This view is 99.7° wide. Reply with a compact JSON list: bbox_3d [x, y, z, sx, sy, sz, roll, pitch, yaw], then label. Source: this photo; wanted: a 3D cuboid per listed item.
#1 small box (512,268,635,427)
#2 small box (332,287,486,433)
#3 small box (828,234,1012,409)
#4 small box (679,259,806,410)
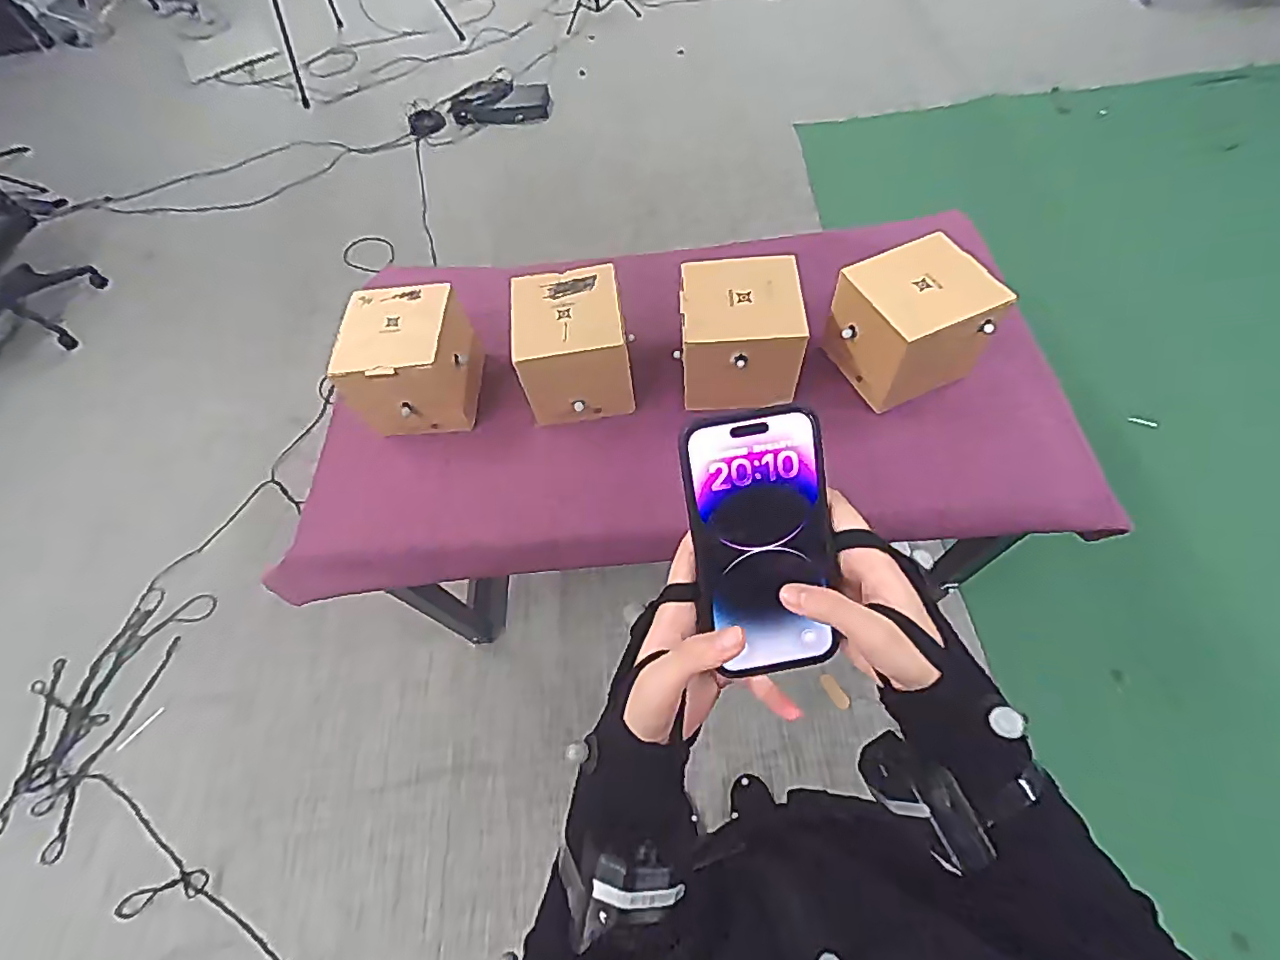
[{"bbox_3d":[-0.104,-0.212,0.884,0.168,0.176,0.179,-8,61,2],"label":"small box"},{"bbox_3d":[-0.370,-0.190,0.903,0.168,0.176,0.179,-4,61,5],"label":"small box"},{"bbox_3d":[0.412,-0.238,0.839,0.179,0.176,0.168,-23,60,-6],"label":"small box"},{"bbox_3d":[0.155,-0.224,0.862,0.179,0.176,0.168,-2,61,5],"label":"small box"}]
